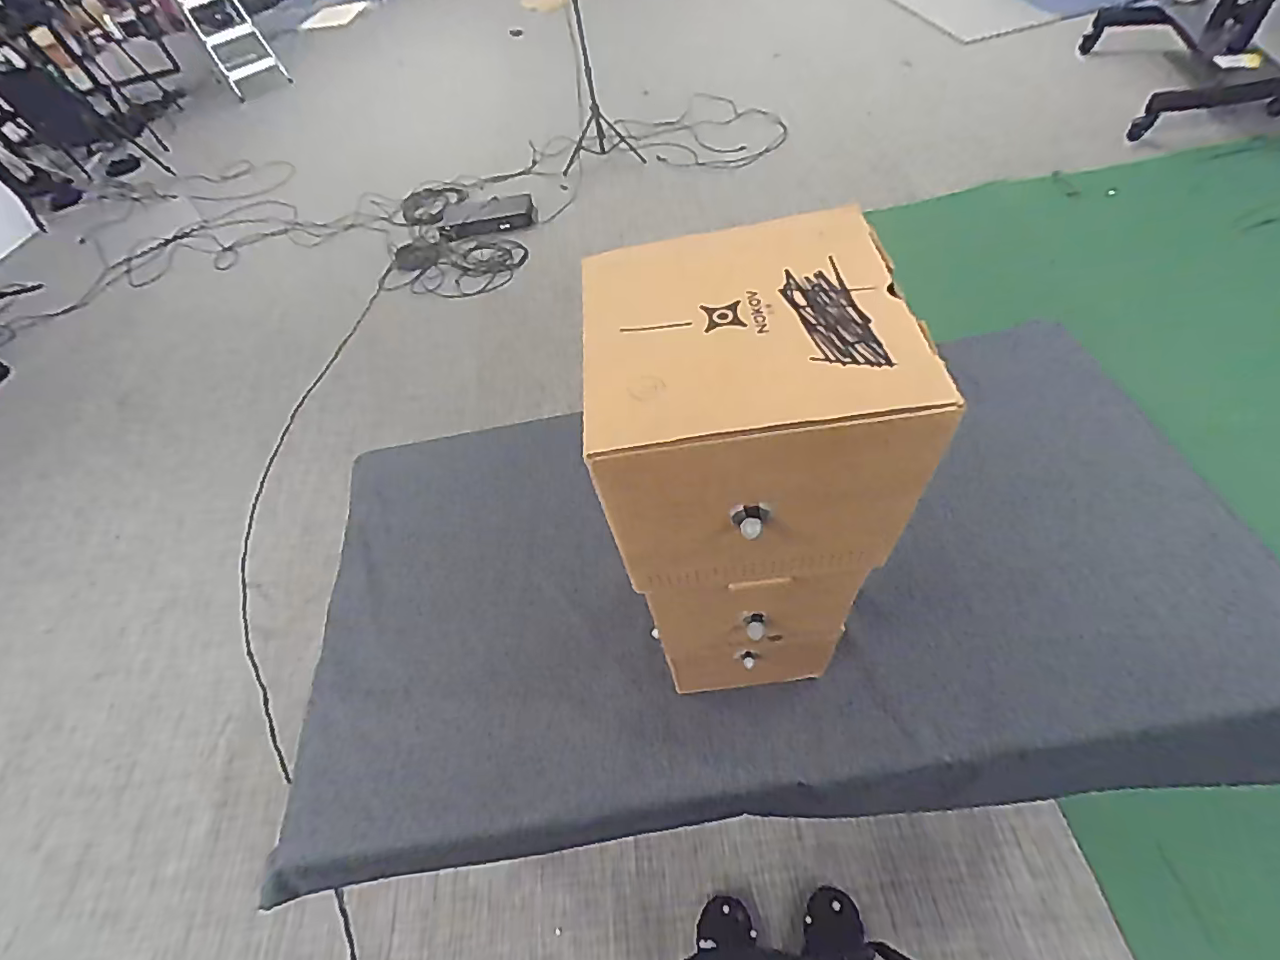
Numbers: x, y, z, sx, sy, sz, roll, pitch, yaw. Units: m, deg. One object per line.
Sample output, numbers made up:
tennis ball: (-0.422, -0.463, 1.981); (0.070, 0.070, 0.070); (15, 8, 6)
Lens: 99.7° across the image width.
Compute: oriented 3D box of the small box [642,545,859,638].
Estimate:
small box: (0.087, 0.041, 0.513); (0.168, 0.176, 0.179); (-8, 56, 4)

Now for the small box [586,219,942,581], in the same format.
small box: (0.066, -0.044, 0.372); (0.179, 0.176, 0.168); (-8, 55, 5)

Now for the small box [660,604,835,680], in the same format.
small box: (0.113, 0.130, 0.647); (0.179, 0.176, 0.168); (-8, 55, 3)
